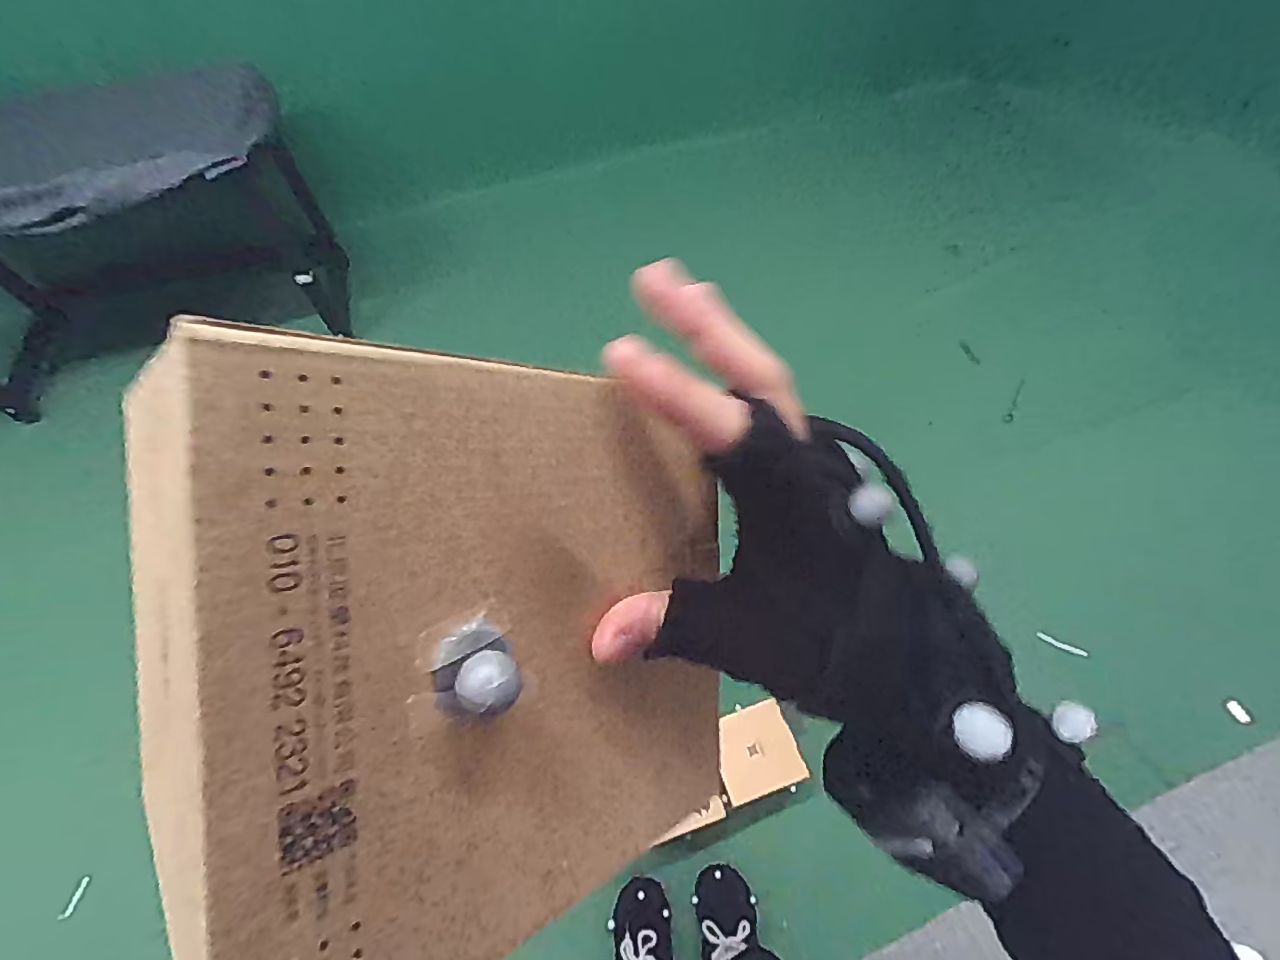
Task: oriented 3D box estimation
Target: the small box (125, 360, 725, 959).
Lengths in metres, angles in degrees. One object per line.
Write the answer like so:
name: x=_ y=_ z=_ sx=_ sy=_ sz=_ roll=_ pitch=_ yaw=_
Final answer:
small box: x=-0.085 y=0.049 z=0.217 sx=0.179 sy=0.176 sz=0.168 roll=4 pitch=96 yaw=44
